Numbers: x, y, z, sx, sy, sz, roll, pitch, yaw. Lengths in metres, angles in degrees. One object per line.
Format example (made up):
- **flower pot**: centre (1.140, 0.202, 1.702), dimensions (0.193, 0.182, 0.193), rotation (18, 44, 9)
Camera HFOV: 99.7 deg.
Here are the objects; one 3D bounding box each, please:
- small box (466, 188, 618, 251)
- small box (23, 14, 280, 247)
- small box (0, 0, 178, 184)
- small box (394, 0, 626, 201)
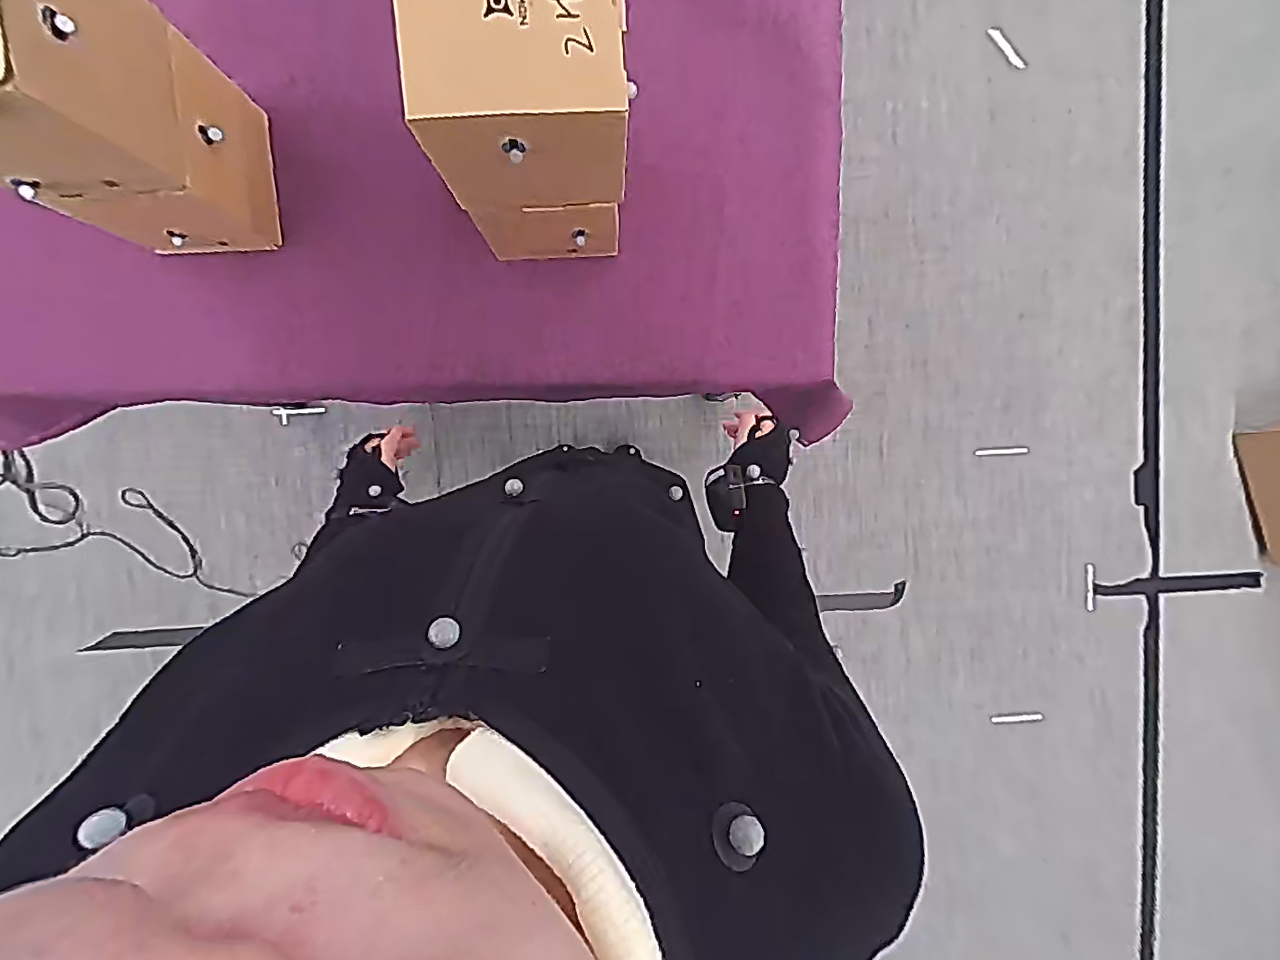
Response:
- **small box**: centre (-0.112, -0.389, 0.655), dimensions (0.168, 0.176, 0.179), rotation (-3, 94, -3)
- **small box**: centre (-0.561, -0.392, 0.634), dimensions (0.168, 0.176, 0.179), rotation (-4, 96, -3)
- **small box**: centre (-0.553, -0.379, 0.470), dimensions (0.168, 0.176, 0.179), rotation (-5, 95, -3)
- **small box**: centre (-0.104, -0.372, 0.491), dimensions (0.179, 0.176, 0.168), rotation (-4, 96, -3)
